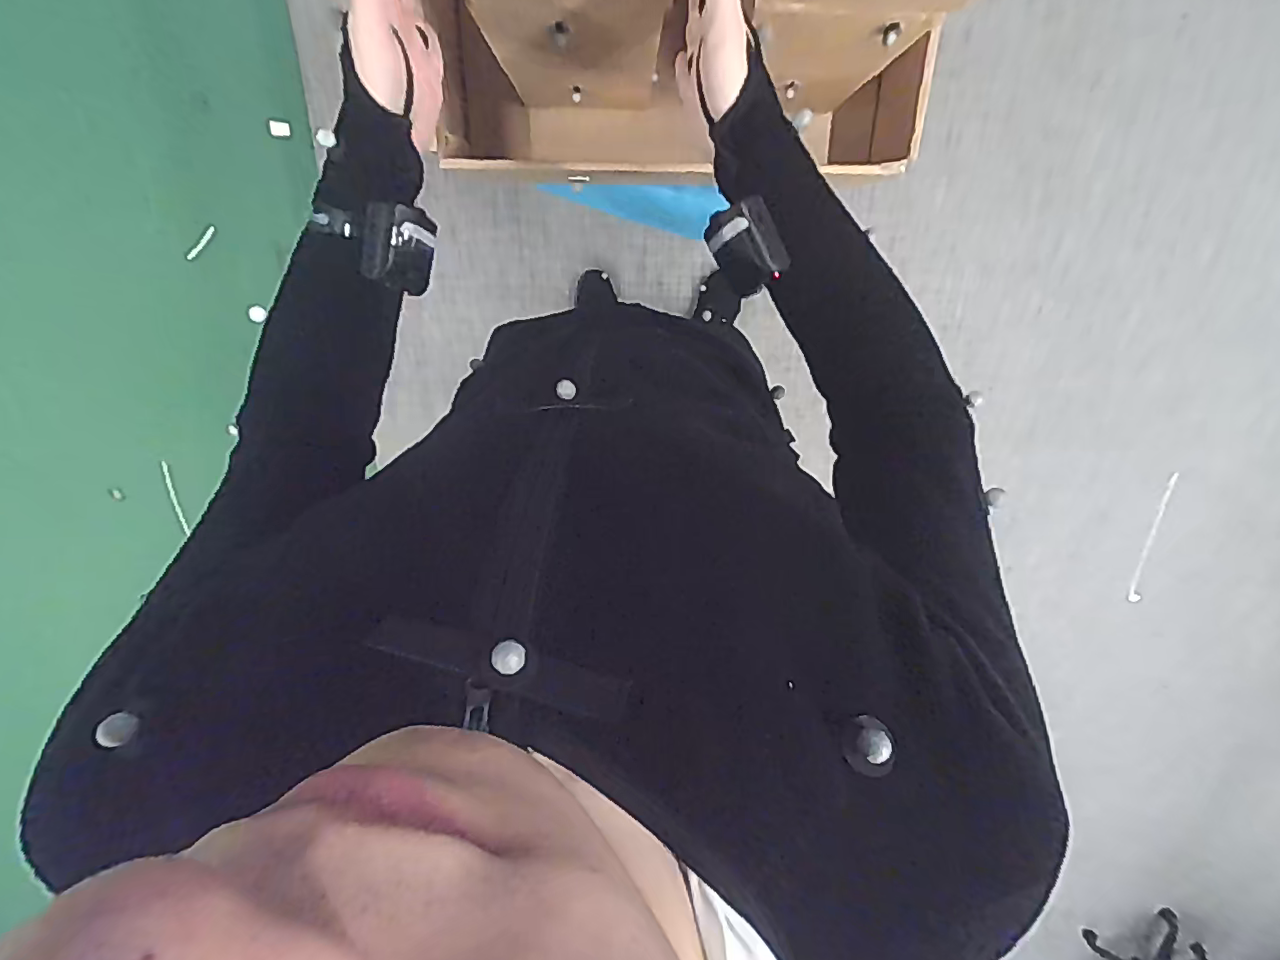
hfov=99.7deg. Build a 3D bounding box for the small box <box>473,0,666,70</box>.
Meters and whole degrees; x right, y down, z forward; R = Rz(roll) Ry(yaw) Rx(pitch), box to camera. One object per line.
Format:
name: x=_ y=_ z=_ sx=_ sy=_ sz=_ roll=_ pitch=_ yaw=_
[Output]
small box: x=-0.063 y=-0.515 z=0.513 sx=0.179 sy=0.176 sz=0.168 roll=-1 pitch=111 yaw=-2
